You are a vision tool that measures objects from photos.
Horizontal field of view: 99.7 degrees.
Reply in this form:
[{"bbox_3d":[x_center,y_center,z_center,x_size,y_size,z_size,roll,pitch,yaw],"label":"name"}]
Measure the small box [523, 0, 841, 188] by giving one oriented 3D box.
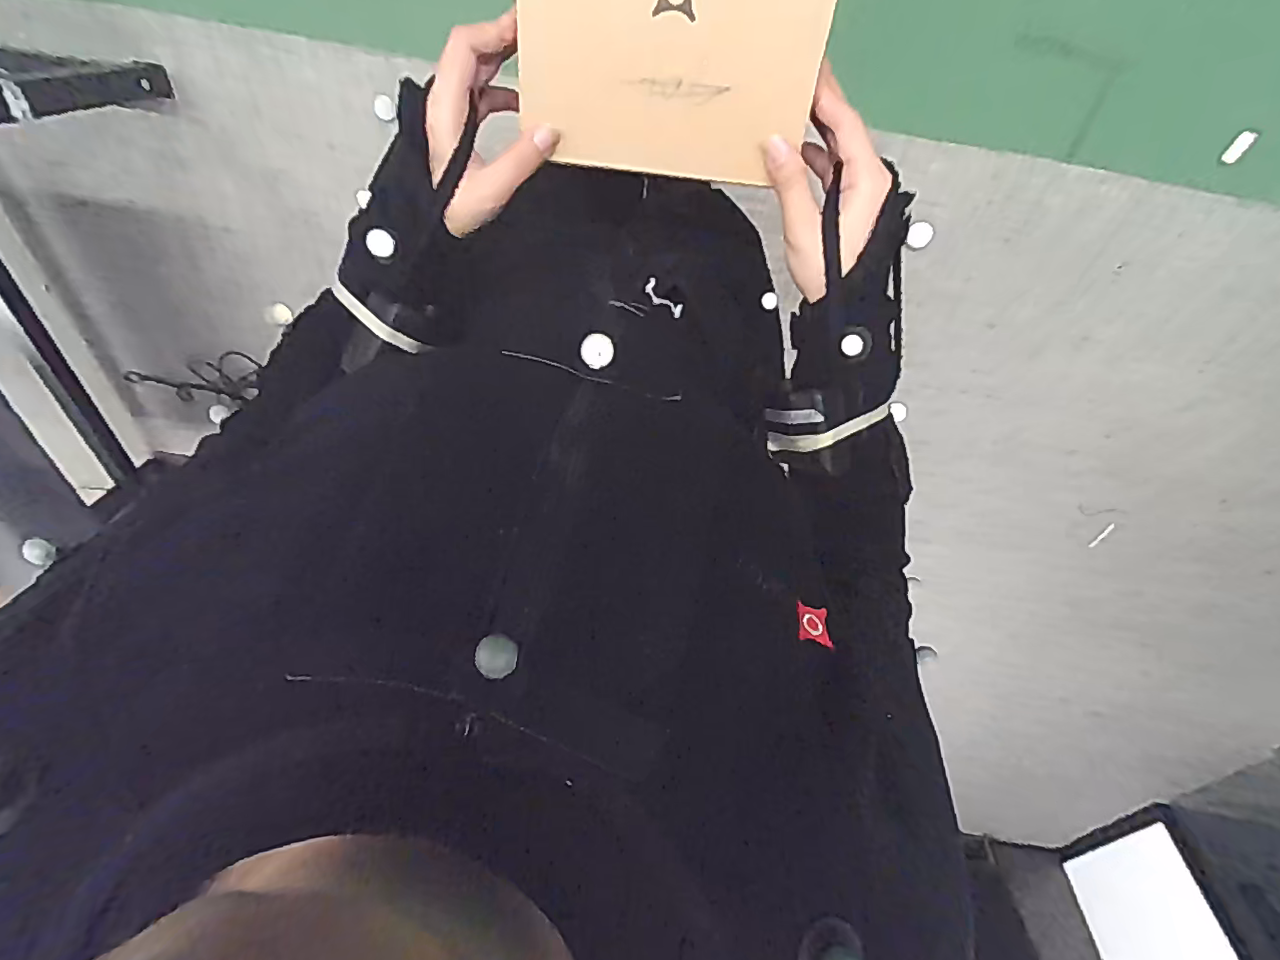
[{"bbox_3d":[0.025,-0.303,0.336,0.168,0.176,0.179,6,128,-2],"label":"small box"}]
